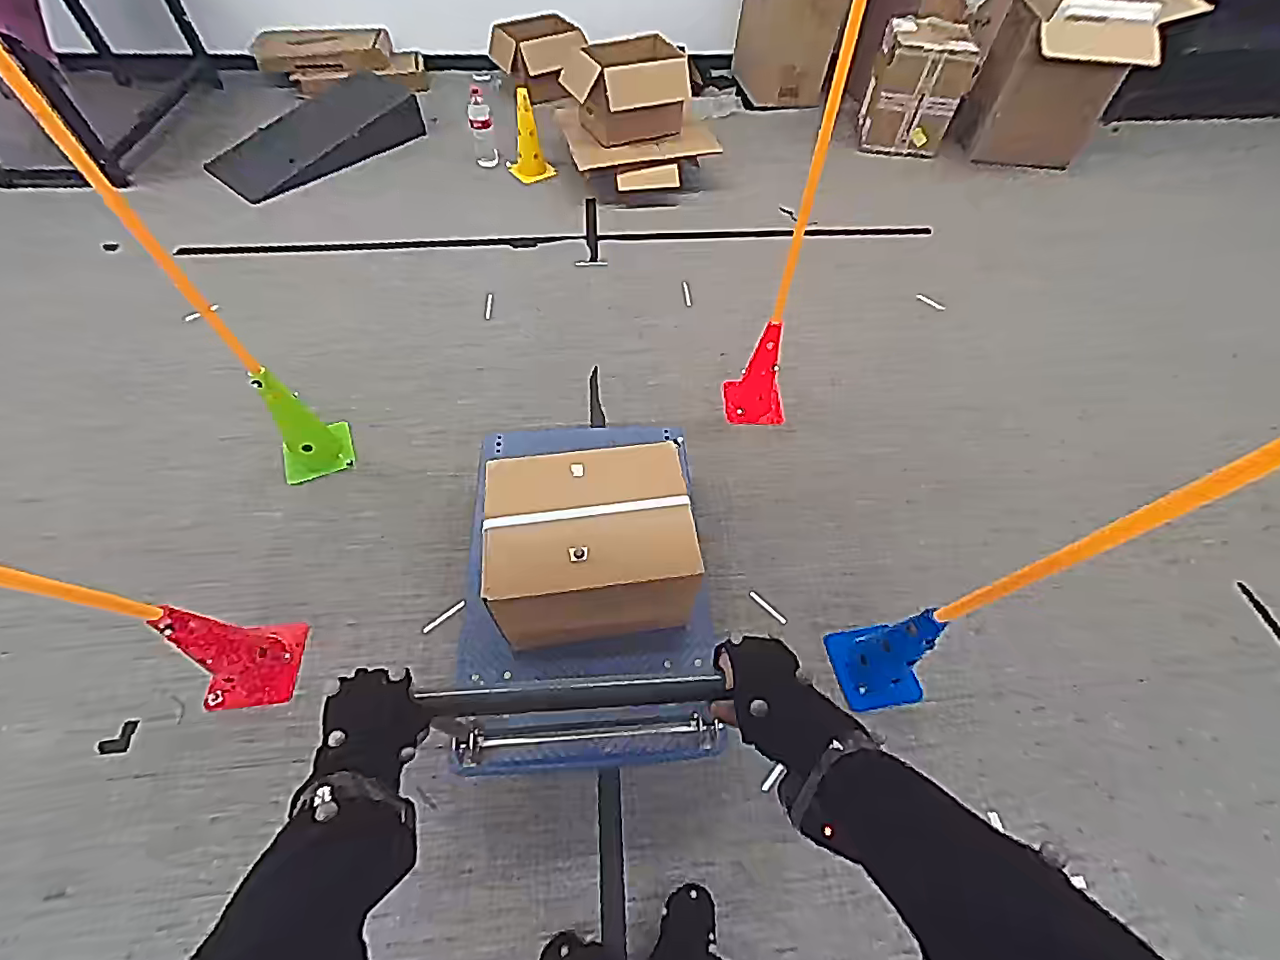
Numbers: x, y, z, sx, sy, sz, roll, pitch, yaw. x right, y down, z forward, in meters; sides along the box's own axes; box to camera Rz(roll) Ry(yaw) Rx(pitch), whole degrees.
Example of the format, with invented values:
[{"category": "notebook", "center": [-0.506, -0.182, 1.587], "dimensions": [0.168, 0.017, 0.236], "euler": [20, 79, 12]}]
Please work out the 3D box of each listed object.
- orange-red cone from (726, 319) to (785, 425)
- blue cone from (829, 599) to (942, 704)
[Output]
[{"category": "orange-red cone", "center": [0.408, -0.368, 1.748], "dimensions": [0.199, 0.360, 0.198], "euler": [3, 56, -1]}, {"category": "blue cone", "center": [0.606, 0.377, 1.262], "dimensions": [0.193, 0.380, 0.192], "euler": [-6, 55, -6]}]
